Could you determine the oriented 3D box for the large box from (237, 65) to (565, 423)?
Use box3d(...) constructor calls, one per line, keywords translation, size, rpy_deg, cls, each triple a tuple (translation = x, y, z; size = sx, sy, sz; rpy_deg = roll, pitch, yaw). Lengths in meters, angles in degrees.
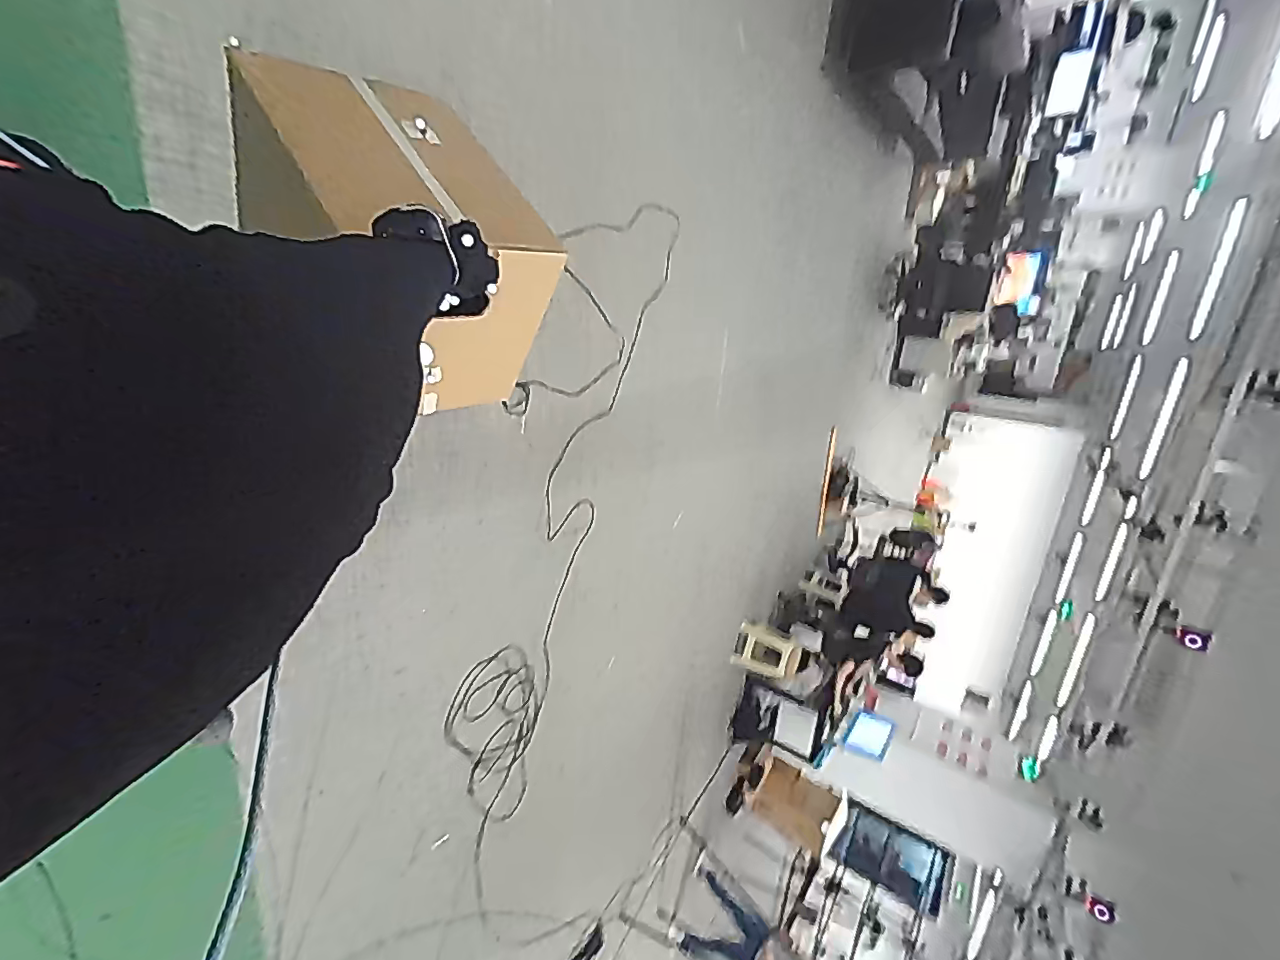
box3d(translation=(-0.391, -0.356, 0.869), size=(0.320, 0.408, 0.320), rpy_deg=(-18, 154, -43), cls="large box")
